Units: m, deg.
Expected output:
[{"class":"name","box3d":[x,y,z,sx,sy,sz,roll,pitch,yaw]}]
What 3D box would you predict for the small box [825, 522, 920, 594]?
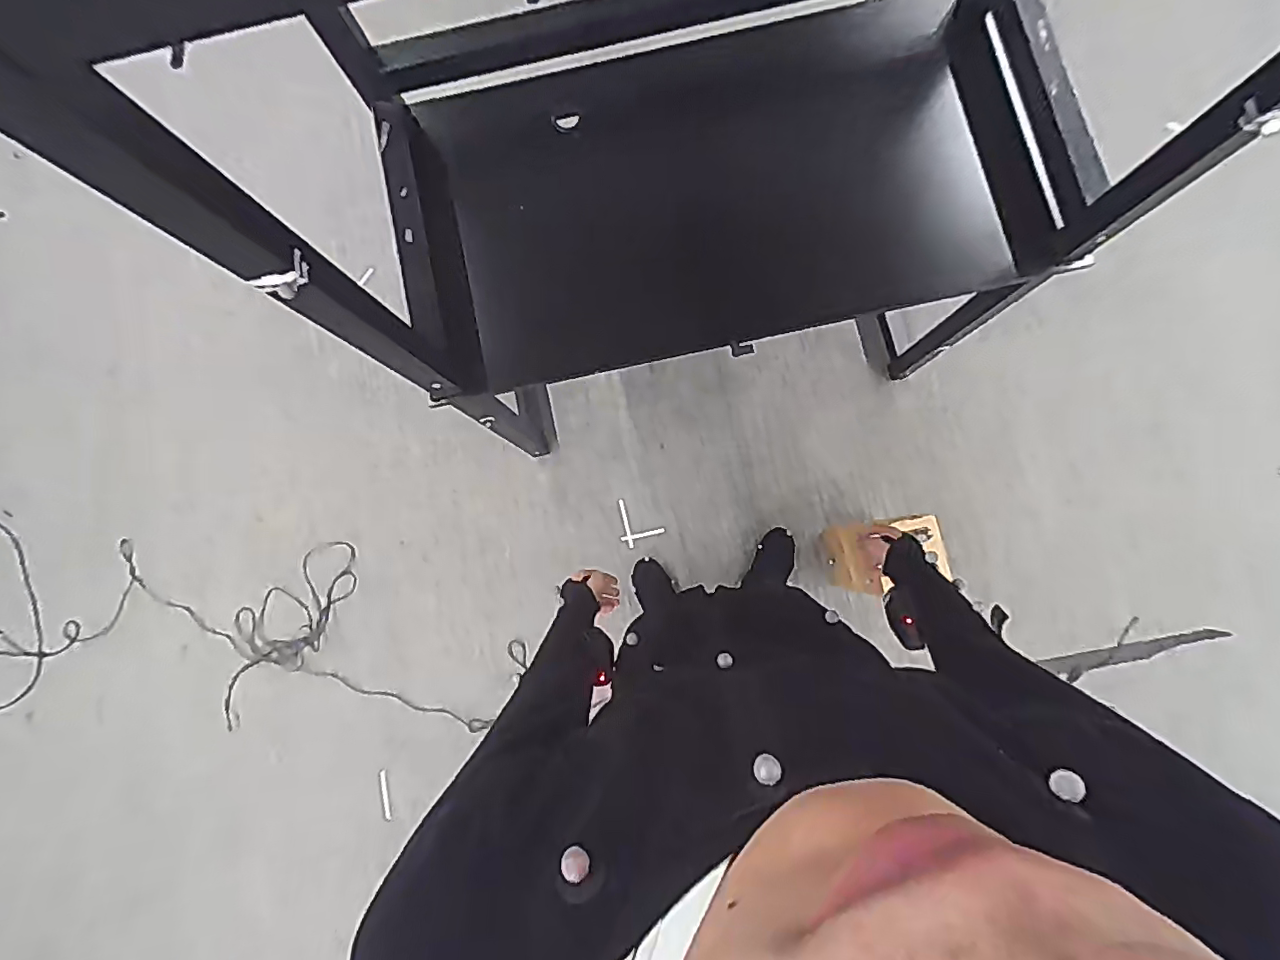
[{"class":"small box","box3d":[0.651,0.216,1.532,0.179,0.176,0.168,-14,83,2]}]
